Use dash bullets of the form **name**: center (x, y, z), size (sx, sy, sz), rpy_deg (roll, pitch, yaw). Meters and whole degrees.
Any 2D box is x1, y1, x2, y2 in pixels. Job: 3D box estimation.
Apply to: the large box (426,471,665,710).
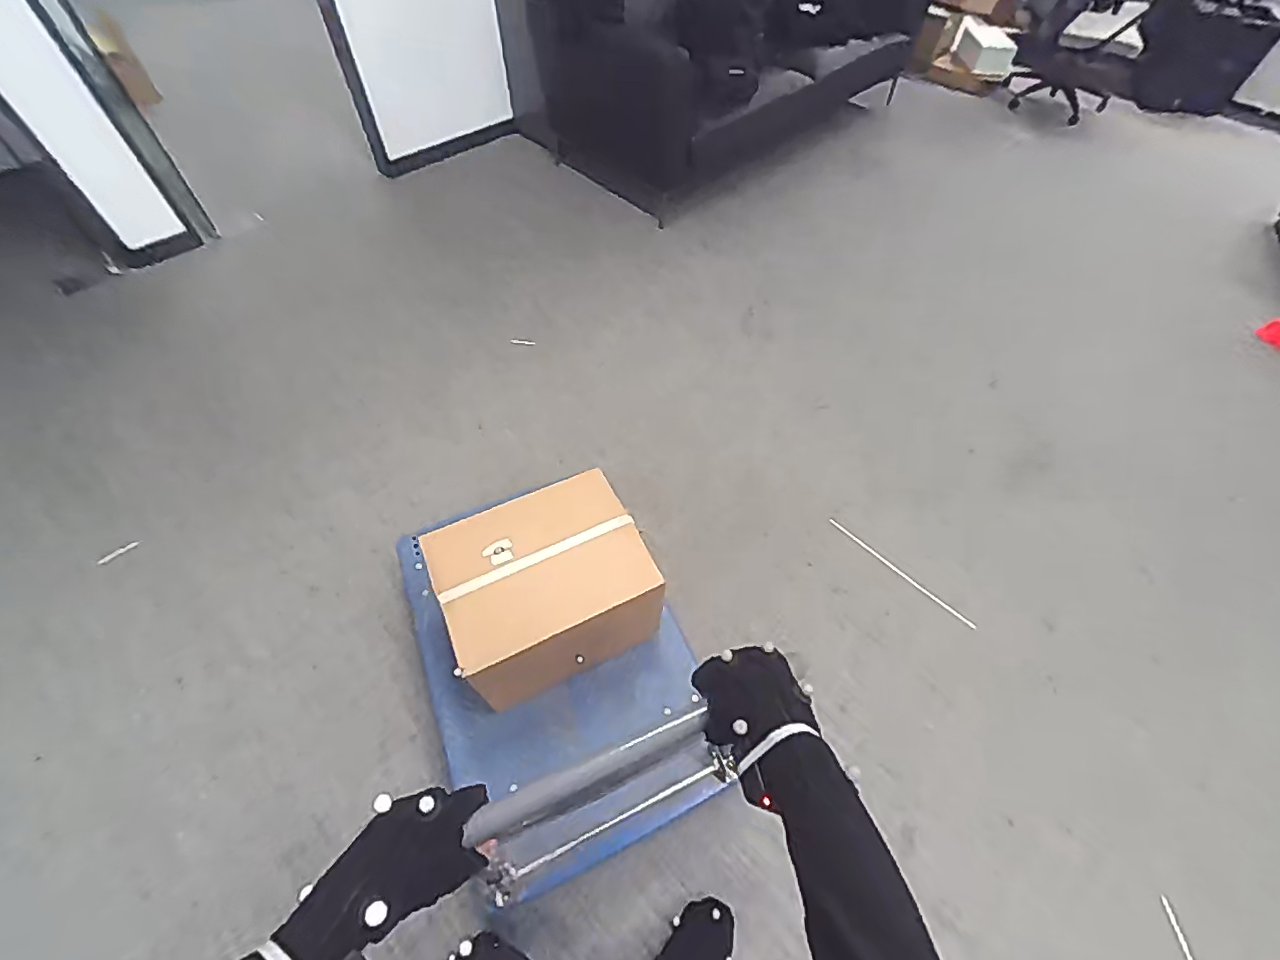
- **large box**: center (-0.195, 0.248, 1.206), size (0.408, 0.320, 0.320), rpy_deg (-24, 59, -16)
